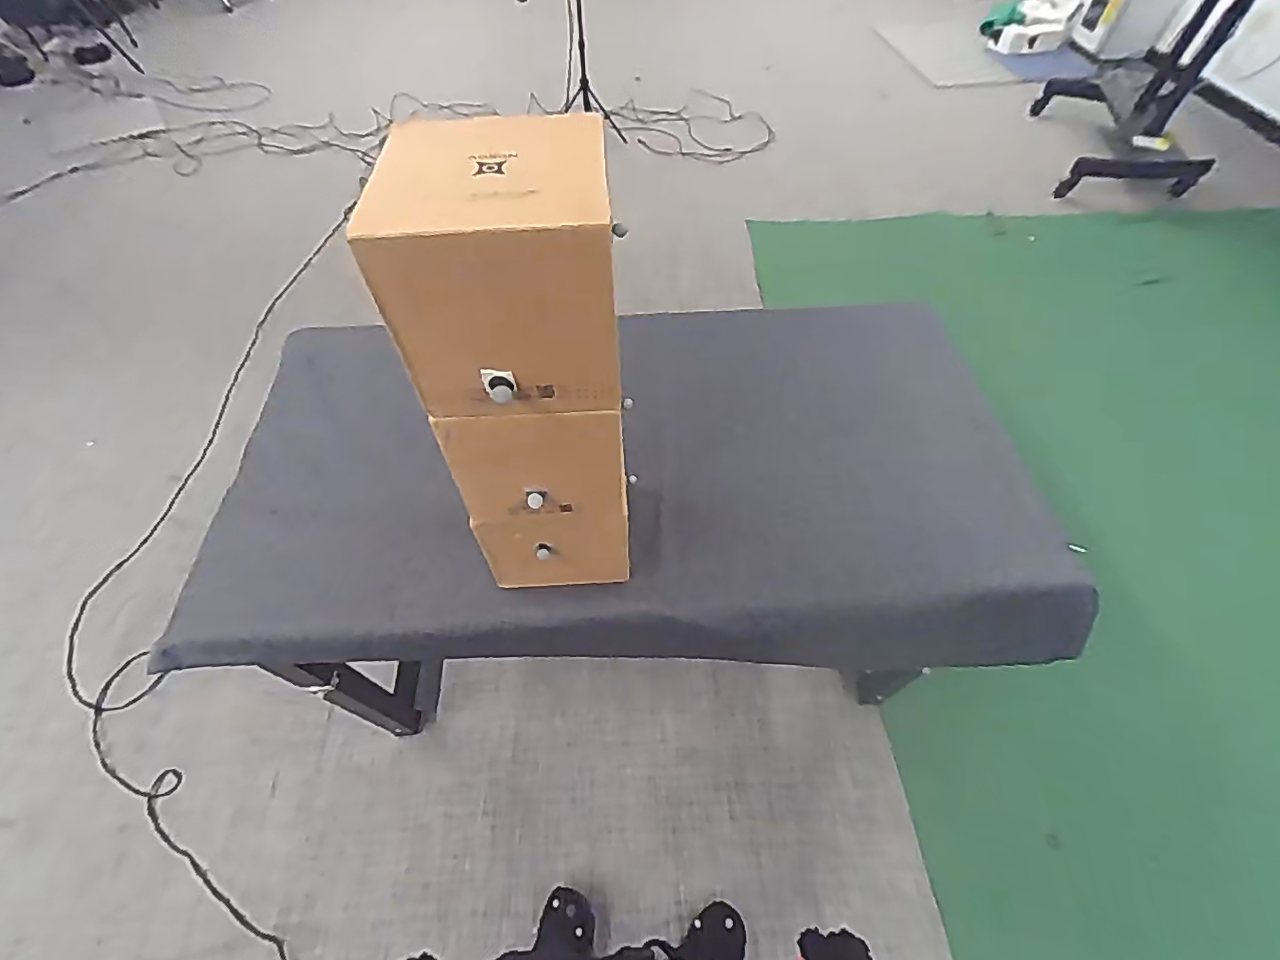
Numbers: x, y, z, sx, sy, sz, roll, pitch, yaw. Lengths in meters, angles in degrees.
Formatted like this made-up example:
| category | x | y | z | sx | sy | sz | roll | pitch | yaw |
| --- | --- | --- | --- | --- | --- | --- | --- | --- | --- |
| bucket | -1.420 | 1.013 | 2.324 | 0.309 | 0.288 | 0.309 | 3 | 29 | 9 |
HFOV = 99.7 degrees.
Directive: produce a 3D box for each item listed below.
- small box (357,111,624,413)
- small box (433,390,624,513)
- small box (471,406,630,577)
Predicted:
| category | x | y | z | sx | sy | sz | roll | pitch | yaw |
| --- | --- | --- | --- | --- | --- | --- | --- | --- | --- |
| small box | -0.100 | -0.177 | 0.450 | 0.168 | 0.176 | 0.179 | -4 | 55 | -2 |
| small box | -0.102 | -0.081 | 0.580 | 0.168 | 0.176 | 0.179 | -2 | 55 | -2 |
| small box | -0.104 | 0.018 | 0.711 | 0.179 | 0.176 | 0.168 | -2 | 54 | -2 |
